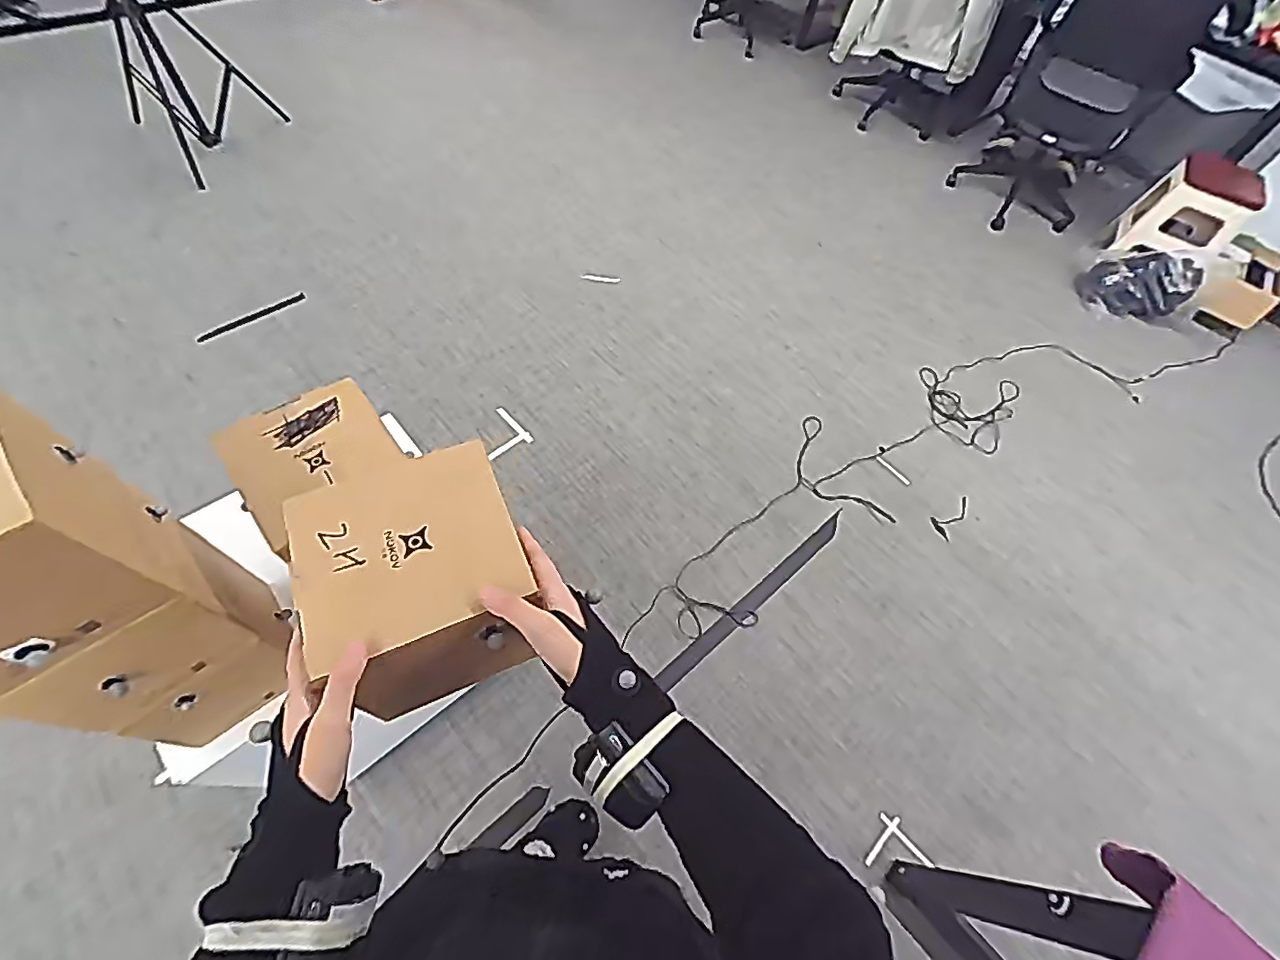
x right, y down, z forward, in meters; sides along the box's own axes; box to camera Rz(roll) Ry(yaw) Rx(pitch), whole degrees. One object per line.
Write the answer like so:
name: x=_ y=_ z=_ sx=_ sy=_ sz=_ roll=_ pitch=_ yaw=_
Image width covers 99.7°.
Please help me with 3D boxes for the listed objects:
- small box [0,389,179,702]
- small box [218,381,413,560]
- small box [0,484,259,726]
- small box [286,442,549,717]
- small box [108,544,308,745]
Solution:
small box: x=-0.548 y=0.057 z=0.450 sx=0.168 sy=0.176 sz=0.179 roll=-37 pitch=70 yaw=-23
small box: x=-0.373 y=0.015 z=0.682 sx=0.168 sy=0.176 sz=0.179 roll=-34 pitch=69 yaw=-23
small box: x=-0.564 y=0.142 z=0.587 sx=0.168 sy=0.176 sz=0.179 roll=-36 pitch=69 yaw=-24
small box: x=-0.192 y=0.097 z=0.508 sx=0.179 sy=0.176 sz=0.168 roll=-20 pitch=60 yaw=-15
small box: x=-0.582 y=0.225 z=0.726 sx=0.168 sy=0.176 sz=0.179 roll=-35 pitch=68 yaw=-24
